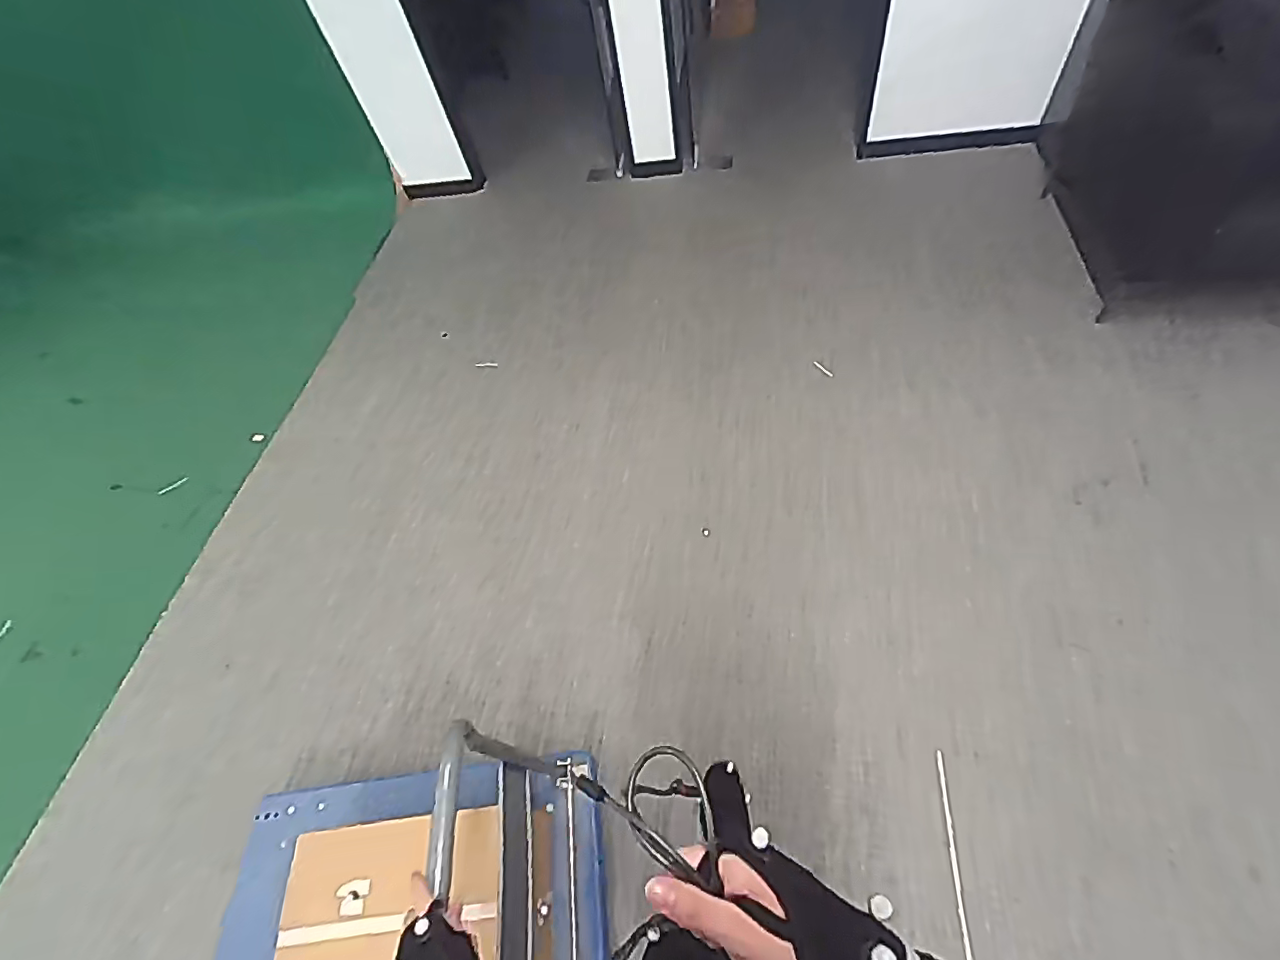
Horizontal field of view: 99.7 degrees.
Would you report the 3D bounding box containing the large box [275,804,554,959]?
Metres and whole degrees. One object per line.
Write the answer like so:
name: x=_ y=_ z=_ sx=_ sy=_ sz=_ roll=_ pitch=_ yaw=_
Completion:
large box: x=-0.406 y=0.842 z=1.050 sx=0.408 sy=0.320 sz=0.320 roll=-11 pitch=55 yaw=4
